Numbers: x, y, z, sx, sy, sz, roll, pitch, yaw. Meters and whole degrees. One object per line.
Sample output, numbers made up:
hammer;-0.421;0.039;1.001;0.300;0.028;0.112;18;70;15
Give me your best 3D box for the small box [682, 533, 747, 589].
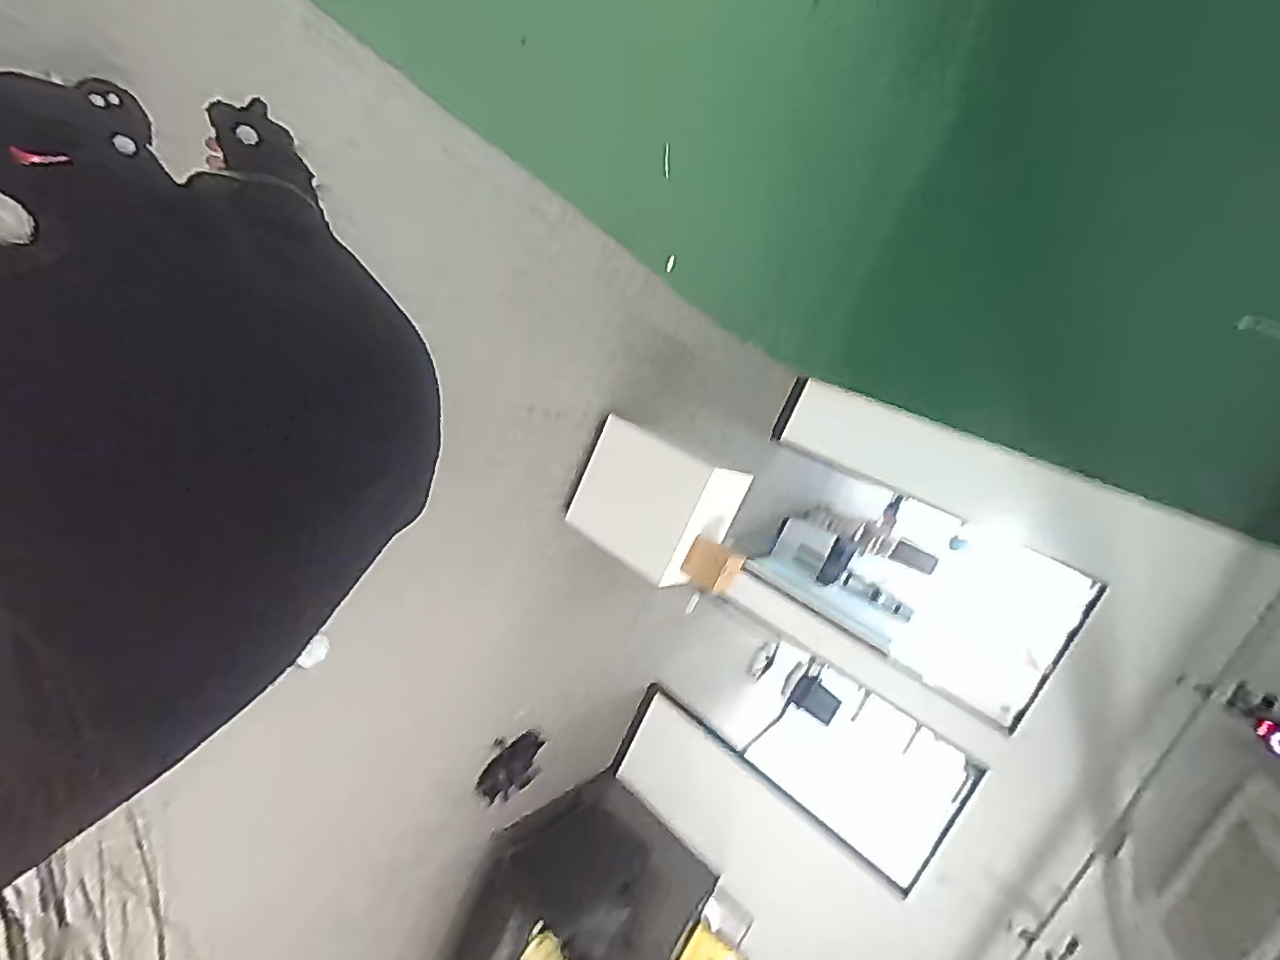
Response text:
small box;0.303;0.327;2.196;0.179;0.176;0.168;14;103;-58
